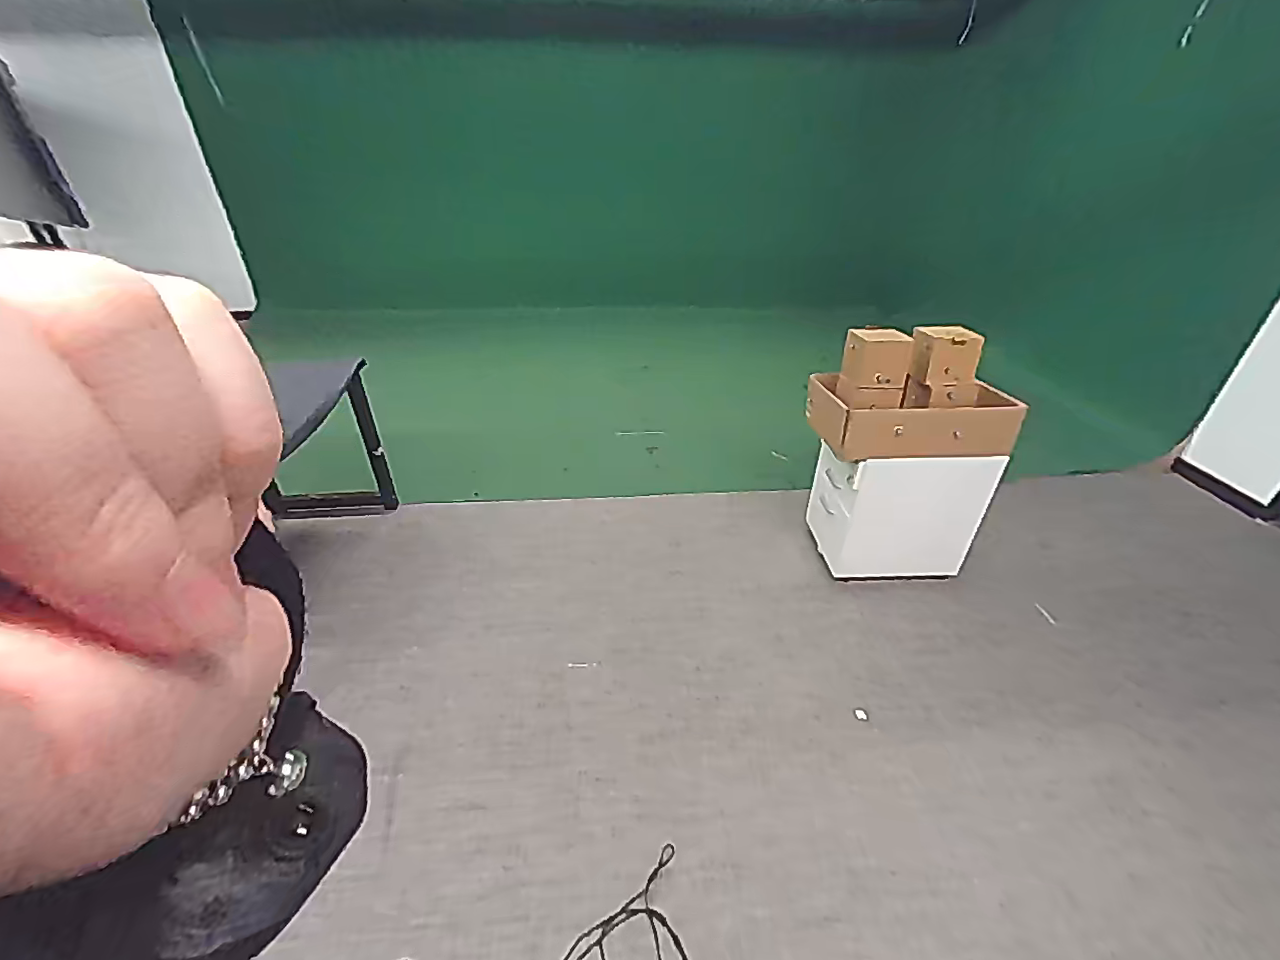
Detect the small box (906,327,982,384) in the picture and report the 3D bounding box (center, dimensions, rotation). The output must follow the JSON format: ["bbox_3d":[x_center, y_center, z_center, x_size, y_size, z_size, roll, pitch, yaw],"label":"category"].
[{"bbox_3d":[1.073,-0.444,1.931,0.168,0.176,0.179,0,28,2],"label":"small box"}]

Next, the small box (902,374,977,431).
[{"bbox_3d":[1.085,-0.286,1.979,0.168,0.176,0.179,-3,27,0],"label":"small box"}]

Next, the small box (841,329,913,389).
[{"bbox_3d":[0.821,-0.425,1.896,0.168,0.176,0.179,-1,28,0],"label":"small box"}]
